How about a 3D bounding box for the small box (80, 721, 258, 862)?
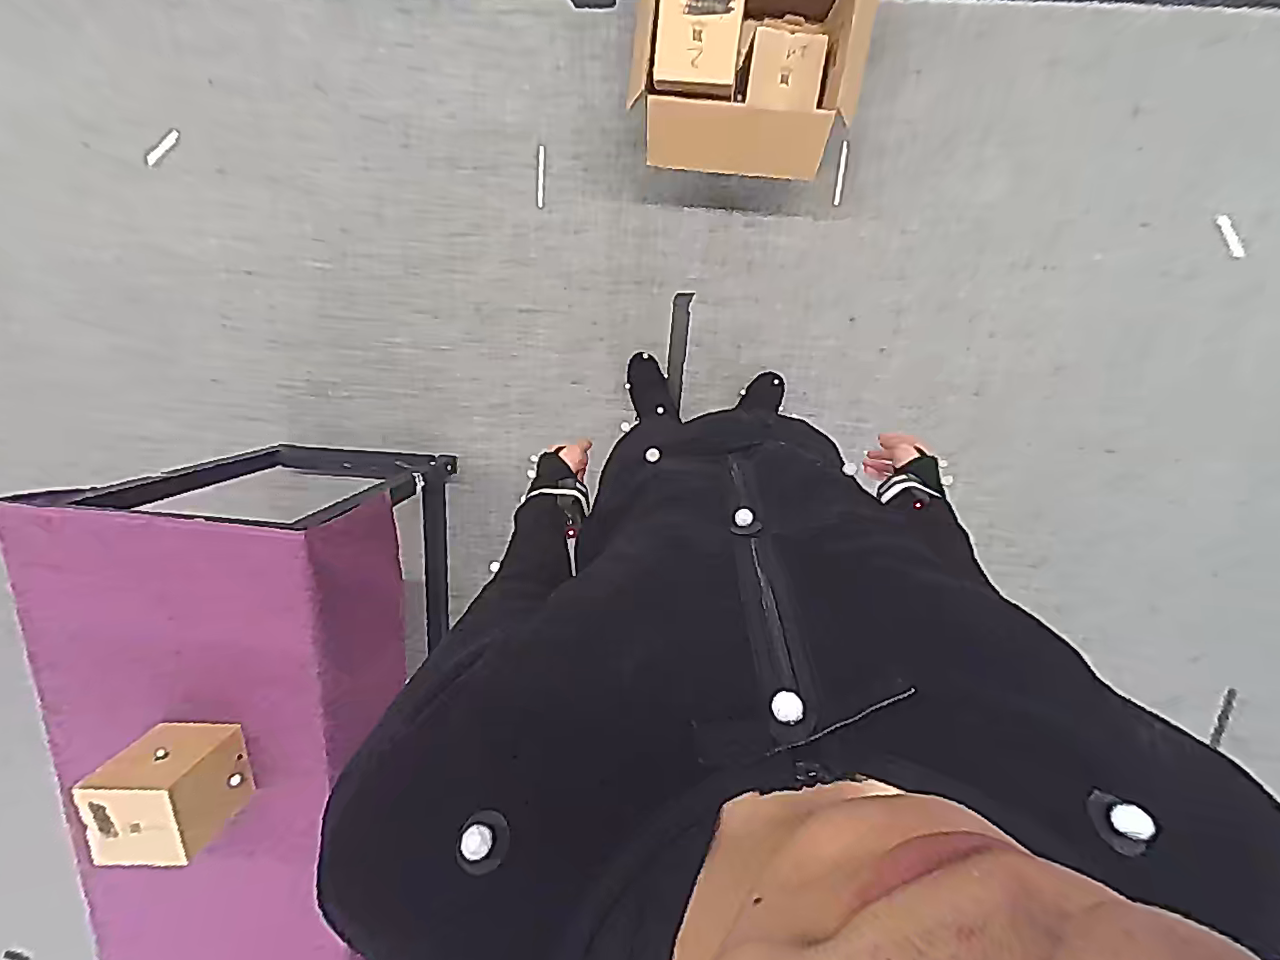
[{"bbox_3d":[-0.881,0.583,1.029,0.179,0.176,0.168,-1,104,3],"label":"small box"}]
